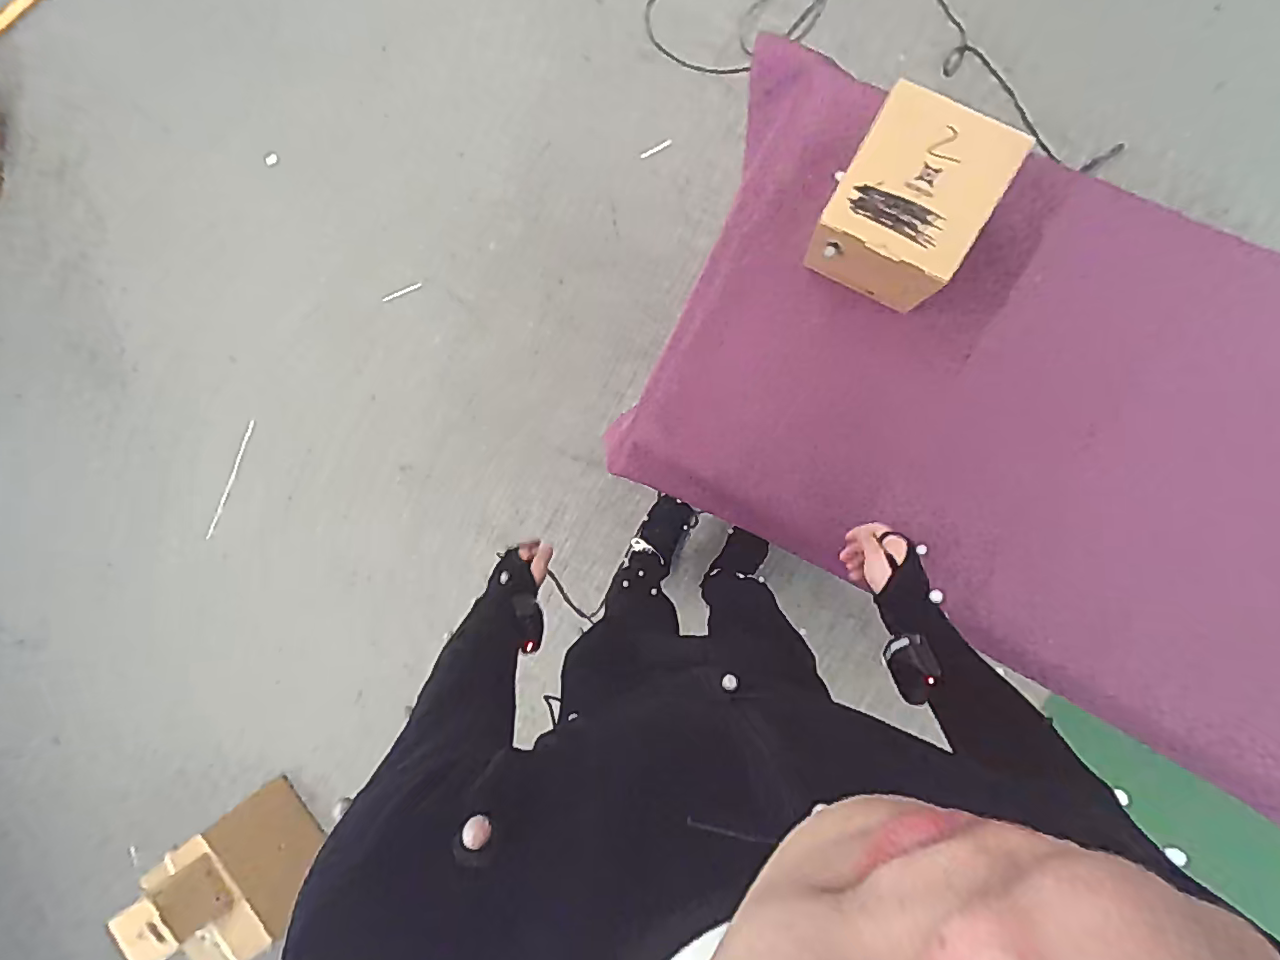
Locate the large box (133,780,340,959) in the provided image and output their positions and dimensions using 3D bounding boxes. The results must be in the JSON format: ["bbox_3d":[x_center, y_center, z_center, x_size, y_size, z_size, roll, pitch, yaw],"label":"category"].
[{"bbox_3d":[-1.307,1.309,1.782,0.320,0.320,0.408,-38,88,11],"label":"large box"}]

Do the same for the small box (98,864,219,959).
[{"bbox_3d":[-1.351,1.245,1.535,0.179,0.176,0.168,-34,88,9],"label":"small box"}]
